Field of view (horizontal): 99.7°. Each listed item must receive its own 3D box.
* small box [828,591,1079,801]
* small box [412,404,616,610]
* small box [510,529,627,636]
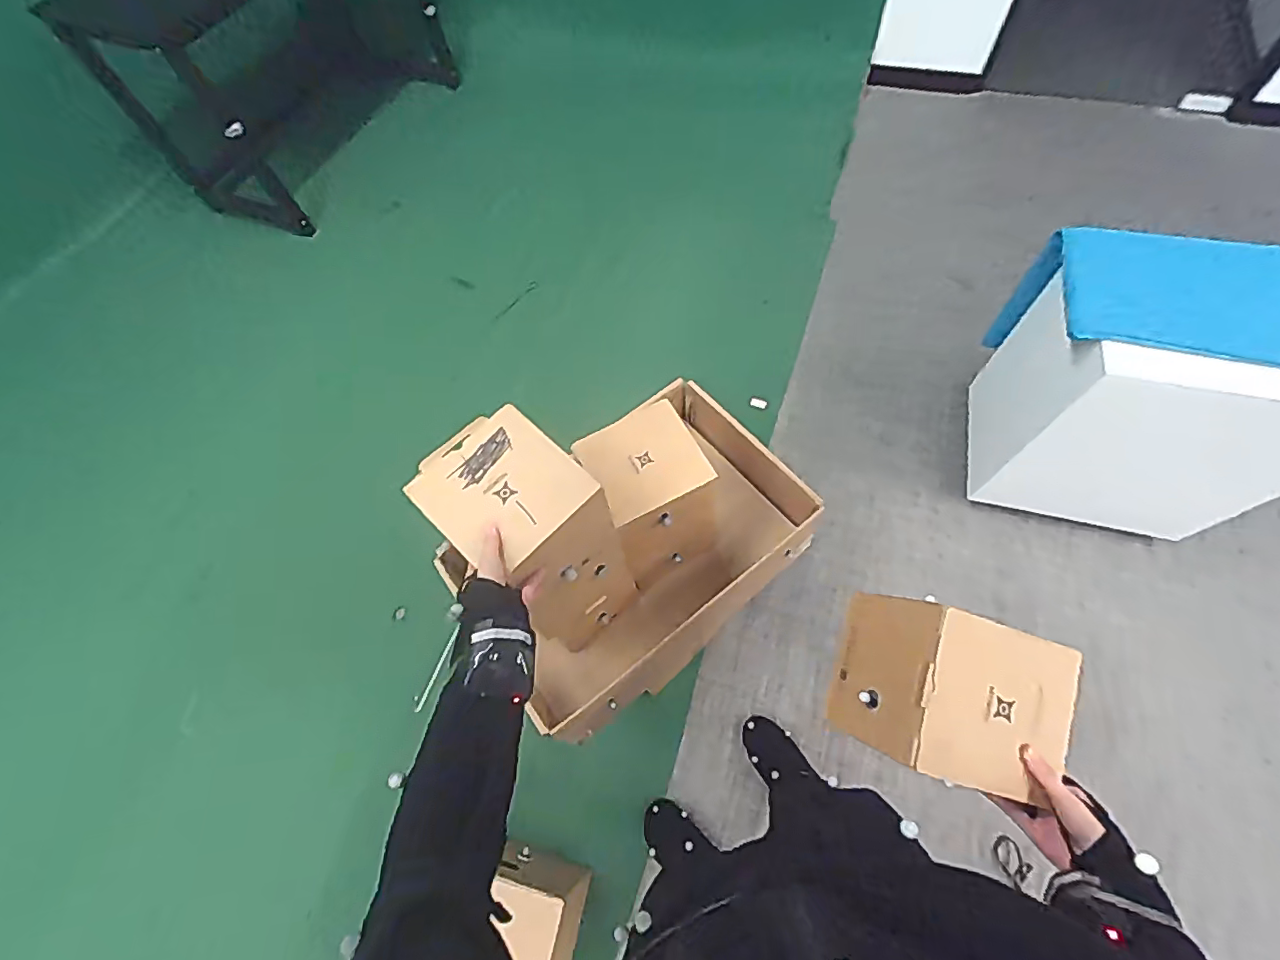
[{"bbox_3d":[0.346,0.231,0.624,0.179,0.176,0.168,19,79,-9],"label":"small box"},{"bbox_3d":[-0.151,0.043,0.702,0.179,0.176,0.168,40,73,21],"label":"small box"},{"bbox_3d":[-0.134,0.115,0.848,0.179,0.176,0.168,-37,65,-13],"label":"small box"}]
